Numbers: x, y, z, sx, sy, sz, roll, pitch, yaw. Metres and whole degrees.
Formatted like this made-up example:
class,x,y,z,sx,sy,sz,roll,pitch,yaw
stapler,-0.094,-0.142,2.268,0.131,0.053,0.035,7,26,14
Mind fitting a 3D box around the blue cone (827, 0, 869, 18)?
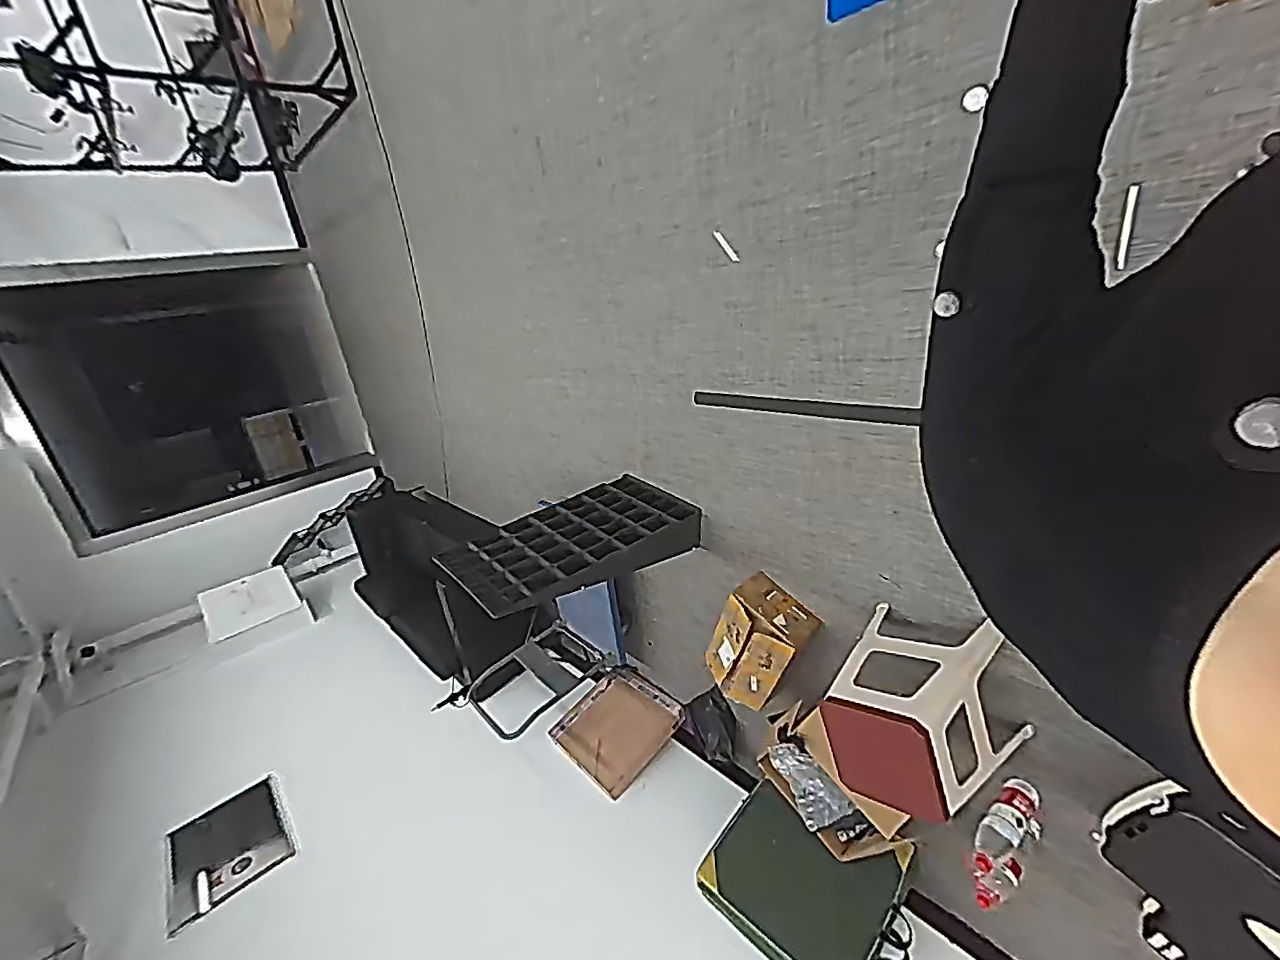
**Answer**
class,x,y,z,sx,sy,sz,roll,pitch,yaw
blue cone,0.390,-1.148,1.140,0.192,0.380,0.193,20,124,46
